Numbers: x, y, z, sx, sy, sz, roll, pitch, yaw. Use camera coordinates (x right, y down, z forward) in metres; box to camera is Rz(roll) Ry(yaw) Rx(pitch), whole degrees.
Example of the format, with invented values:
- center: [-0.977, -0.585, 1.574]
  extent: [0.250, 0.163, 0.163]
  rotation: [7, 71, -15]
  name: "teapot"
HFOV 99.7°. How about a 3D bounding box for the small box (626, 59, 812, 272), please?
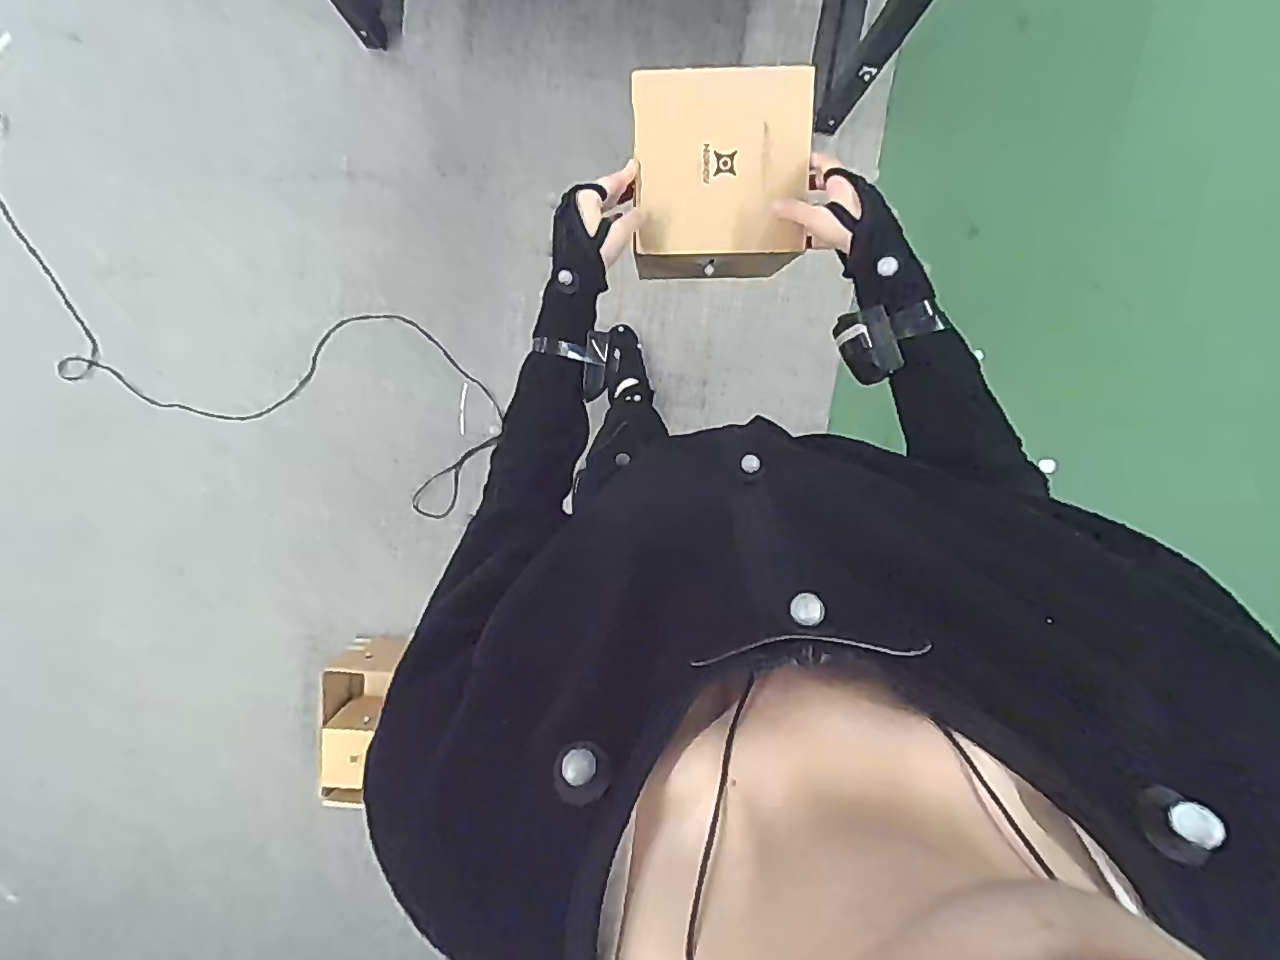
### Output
- center: [0.077, -0.332, 0.604]
  extent: [0.179, 0.176, 0.168]
  rotation: [0, 102, 1]
  name: "small box"
